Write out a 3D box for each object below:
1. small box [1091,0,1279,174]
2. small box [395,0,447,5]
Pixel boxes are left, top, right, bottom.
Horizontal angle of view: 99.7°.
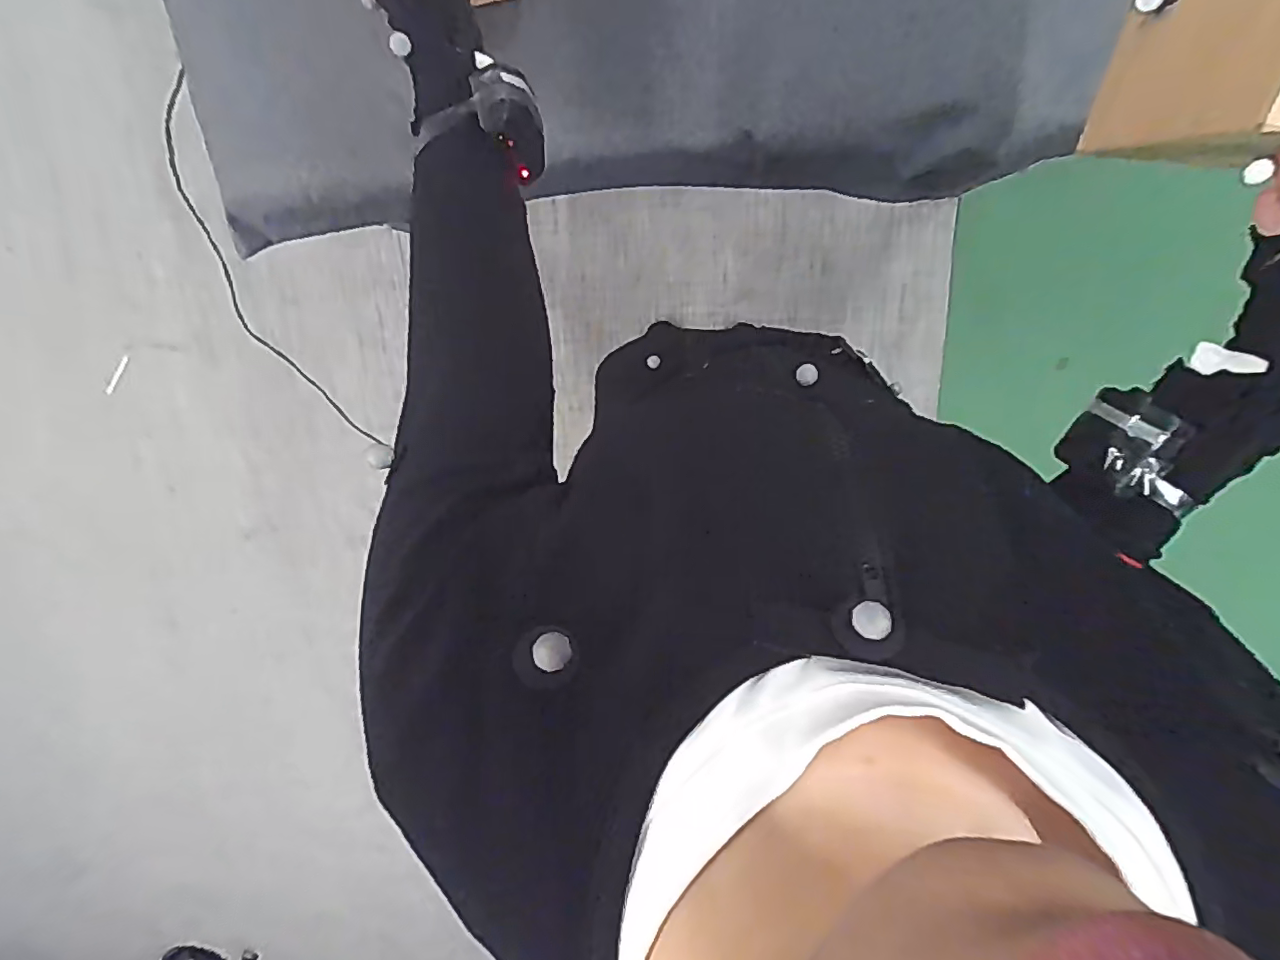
[{"bbox_3d":[0.423,-0.286,0.316,0.168,0.176,0.179,7,118,2],"label":"small box"},{"bbox_3d":[-0.188,-0.546,0.451,0.168,0.176,0.179,-9,100,1],"label":"small box"}]
